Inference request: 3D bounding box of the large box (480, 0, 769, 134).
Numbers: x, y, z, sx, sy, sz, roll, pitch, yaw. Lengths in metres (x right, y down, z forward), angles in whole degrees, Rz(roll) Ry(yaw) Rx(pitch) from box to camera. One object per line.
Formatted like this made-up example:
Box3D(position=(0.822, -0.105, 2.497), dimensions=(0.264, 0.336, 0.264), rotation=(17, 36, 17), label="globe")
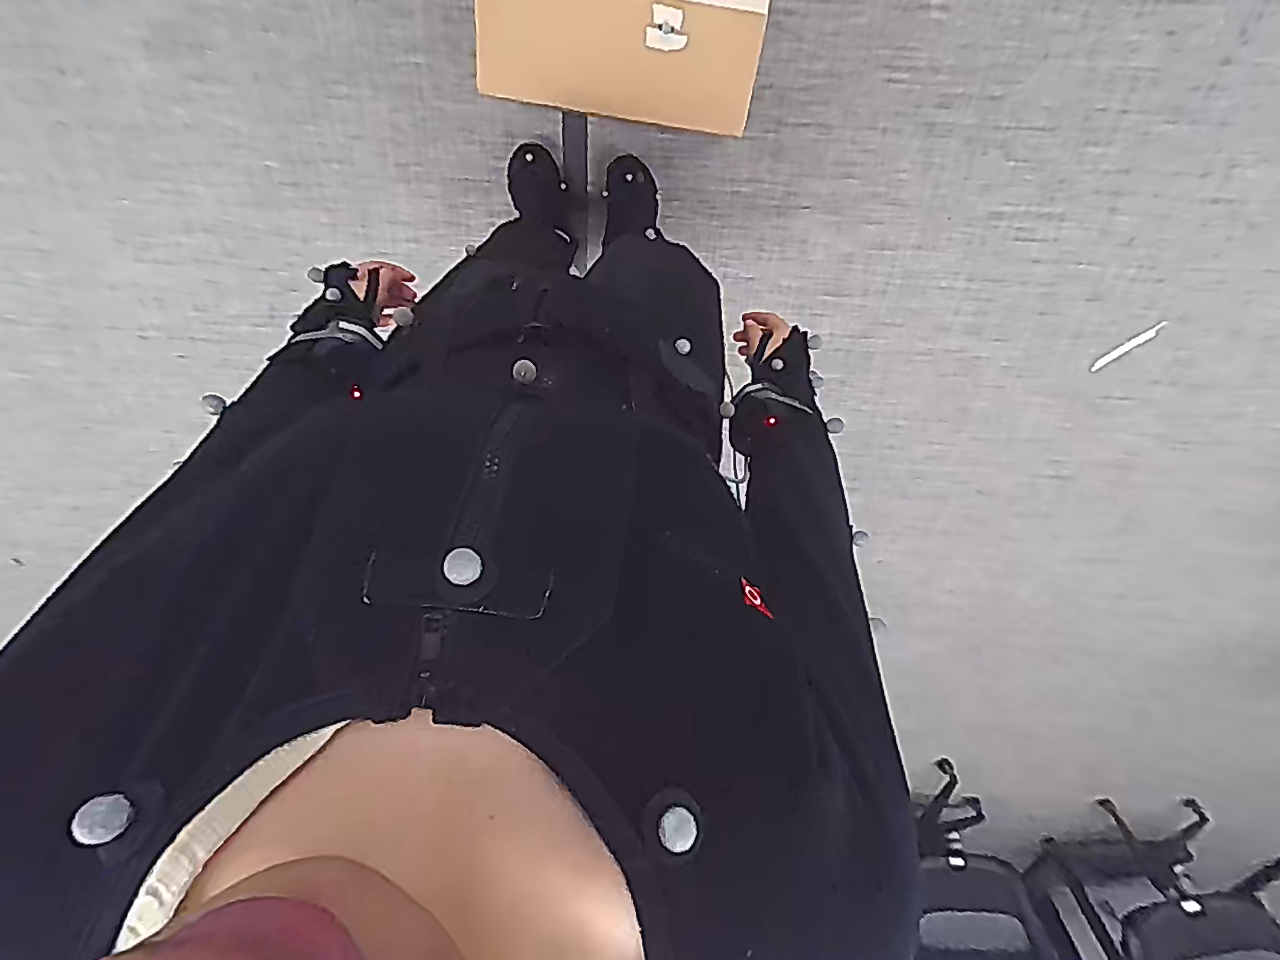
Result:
Box3D(position=(-0.022, -0.756, 0.856), dimensions=(0.408, 0.320, 0.320), rotation=(6, 123, -5), label="large box")
